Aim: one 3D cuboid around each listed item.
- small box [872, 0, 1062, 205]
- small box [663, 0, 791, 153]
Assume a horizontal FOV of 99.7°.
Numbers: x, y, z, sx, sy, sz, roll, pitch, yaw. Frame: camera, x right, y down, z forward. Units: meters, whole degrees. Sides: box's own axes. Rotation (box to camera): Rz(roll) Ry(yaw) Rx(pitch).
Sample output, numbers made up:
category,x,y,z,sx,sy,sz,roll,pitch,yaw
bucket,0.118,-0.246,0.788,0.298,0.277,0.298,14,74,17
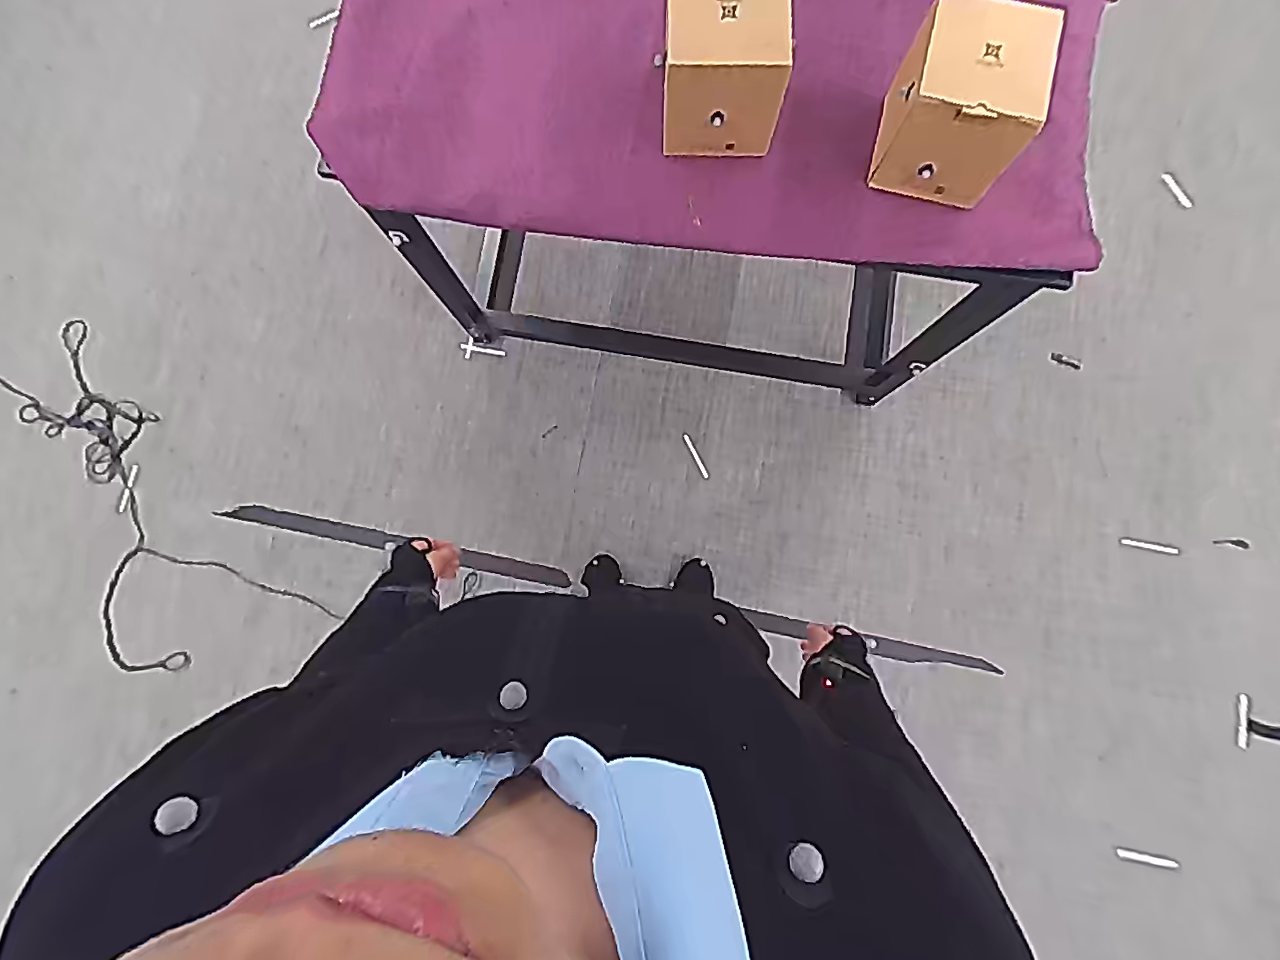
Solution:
category,x,y,z,sx,sy,sz,roll,pitch,yaw
small box,0.458,-0.542,0.782,0.168,0.176,0.179,14,81,3
small box,0.121,-0.616,0.798,0.168,0.176,0.179,1,82,1
